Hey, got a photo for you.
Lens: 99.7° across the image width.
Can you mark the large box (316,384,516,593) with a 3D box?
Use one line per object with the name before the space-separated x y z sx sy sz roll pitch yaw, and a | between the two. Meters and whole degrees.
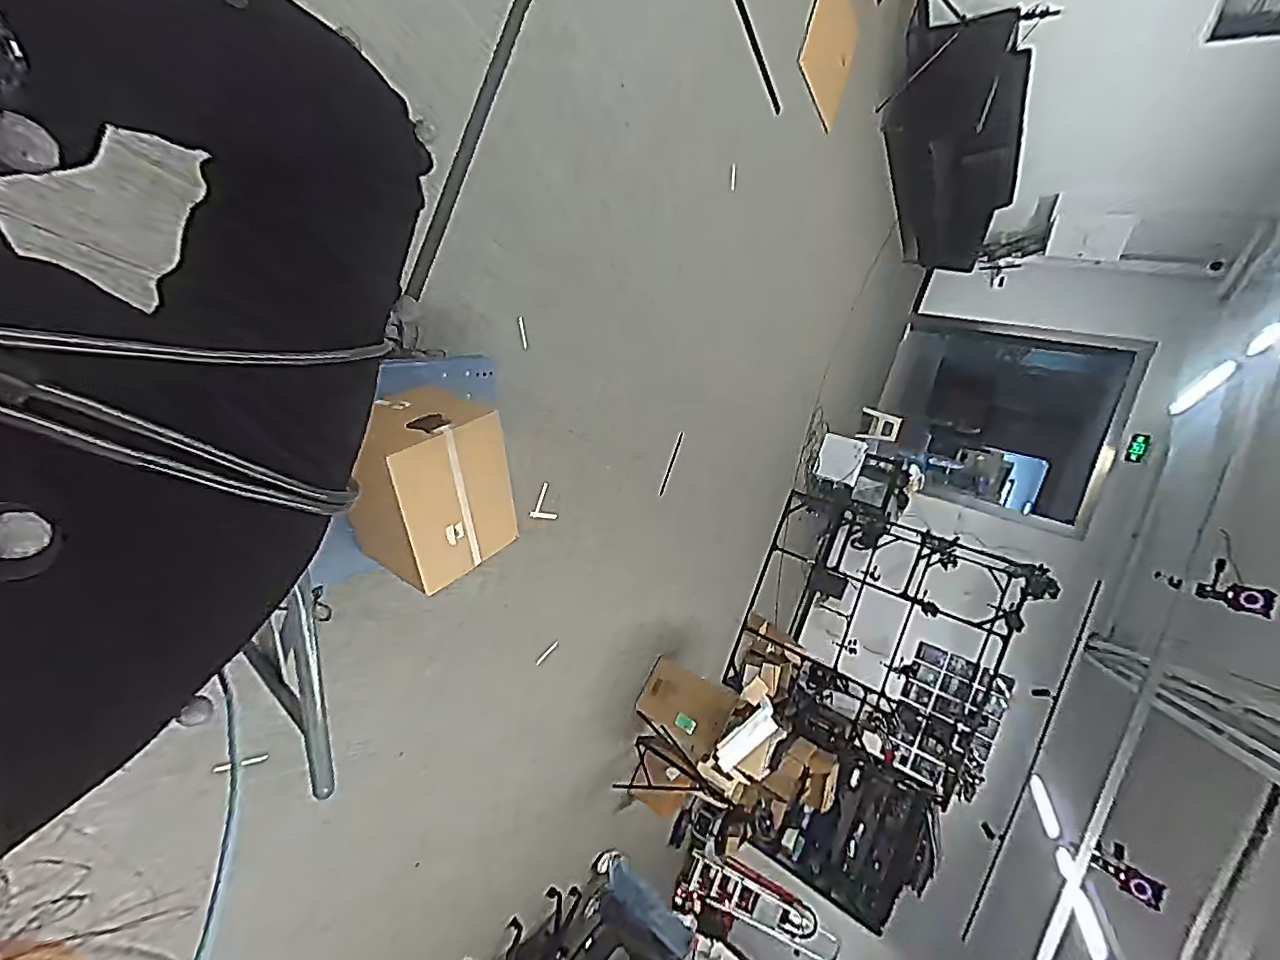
large box | -0.569 0.007 1.420 0.320 0.320 0.408 -34 135 -43
